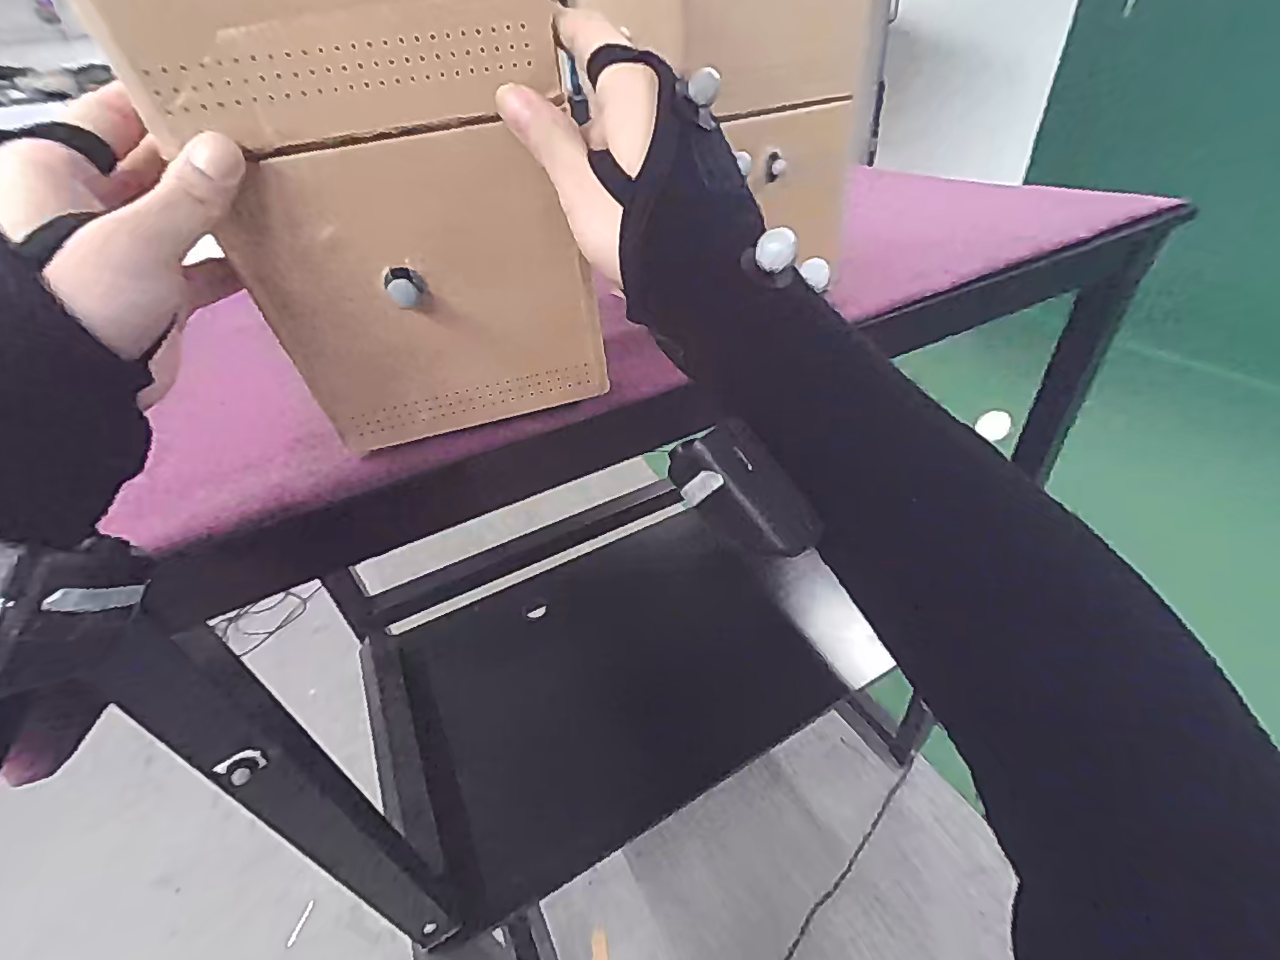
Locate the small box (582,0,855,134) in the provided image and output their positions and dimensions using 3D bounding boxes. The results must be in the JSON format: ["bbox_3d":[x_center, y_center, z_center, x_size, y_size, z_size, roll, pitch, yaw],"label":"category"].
[{"bbox_3d":[0.058,-0.393,0.439,0.179,0.176,0.168,-24,41,-20],"label":"small box"}]

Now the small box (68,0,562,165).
[{"bbox_3d":[-0.146,-0.257,0.238,0.179,0.176,0.168,-15,46,-10],"label":"small box"}]

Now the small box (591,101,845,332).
[{"bbox_3d":[0.073,-0.262,0.537,0.179,0.176,0.168,-22,40,-21],"label":"small box"}]

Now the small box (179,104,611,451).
[{"bbox_3d":[-0.130,-0.142,0.353,0.179,0.176,0.168,-16,46,-8],"label":"small box"}]
